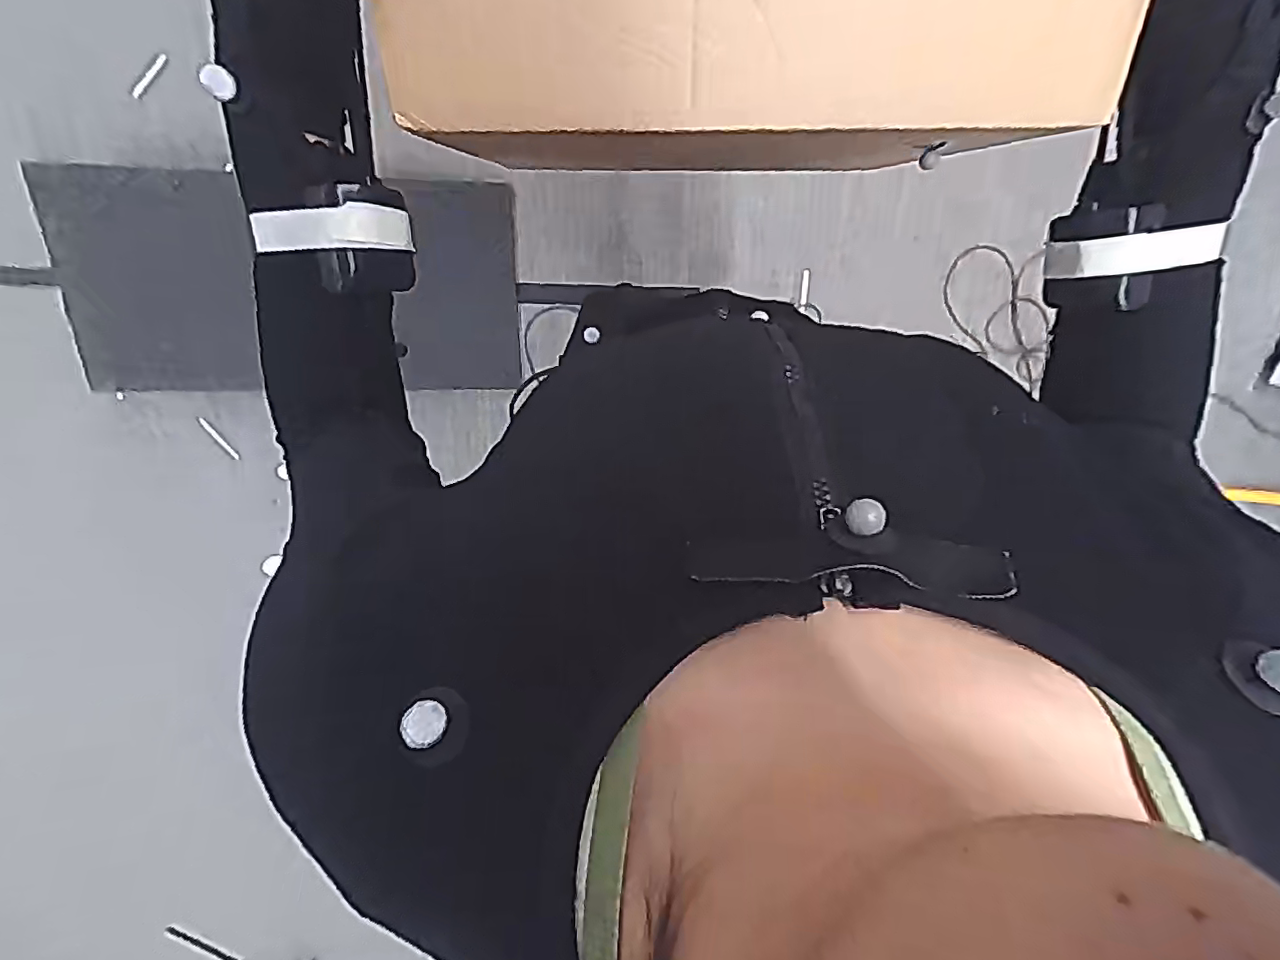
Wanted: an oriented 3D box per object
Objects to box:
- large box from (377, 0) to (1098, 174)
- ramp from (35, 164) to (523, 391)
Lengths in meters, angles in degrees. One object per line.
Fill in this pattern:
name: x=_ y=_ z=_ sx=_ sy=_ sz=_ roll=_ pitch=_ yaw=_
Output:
large box: x=0.051 y=-0.408 z=0.388 sx=0.408 sy=0.320 sz=0.320 roll=-2 pitch=116 yaw=0
ramp: x=-0.805 y=-0.467 z=1.307 sx=0.991 sy=0.206 sz=0.509 roll=0 pitch=108 yaw=2
